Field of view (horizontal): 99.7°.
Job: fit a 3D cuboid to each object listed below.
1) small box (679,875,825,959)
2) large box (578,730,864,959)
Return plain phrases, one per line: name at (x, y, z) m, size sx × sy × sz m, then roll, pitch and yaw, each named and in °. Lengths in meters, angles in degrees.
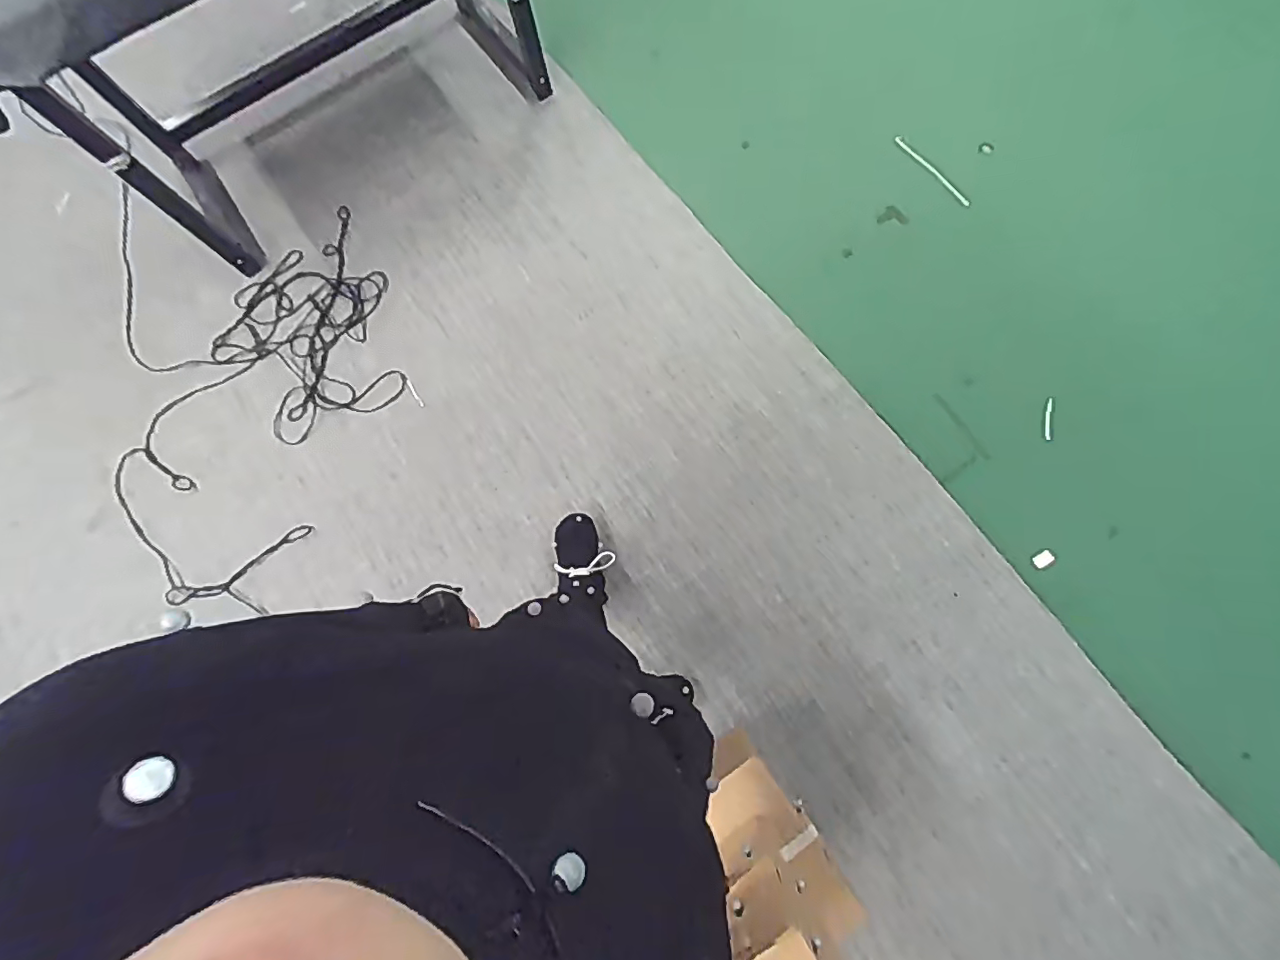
small box at (0.160, 0.656, 0.679) m, size 0.168 × 0.176 × 0.179 m, roll -30°, pitch 74°, yaw -3°
large box at (0.148, 0.775, 1.071) m, size 0.408 × 0.320 × 0.320 m, roll -36°, pitch 74°, yaw -4°
